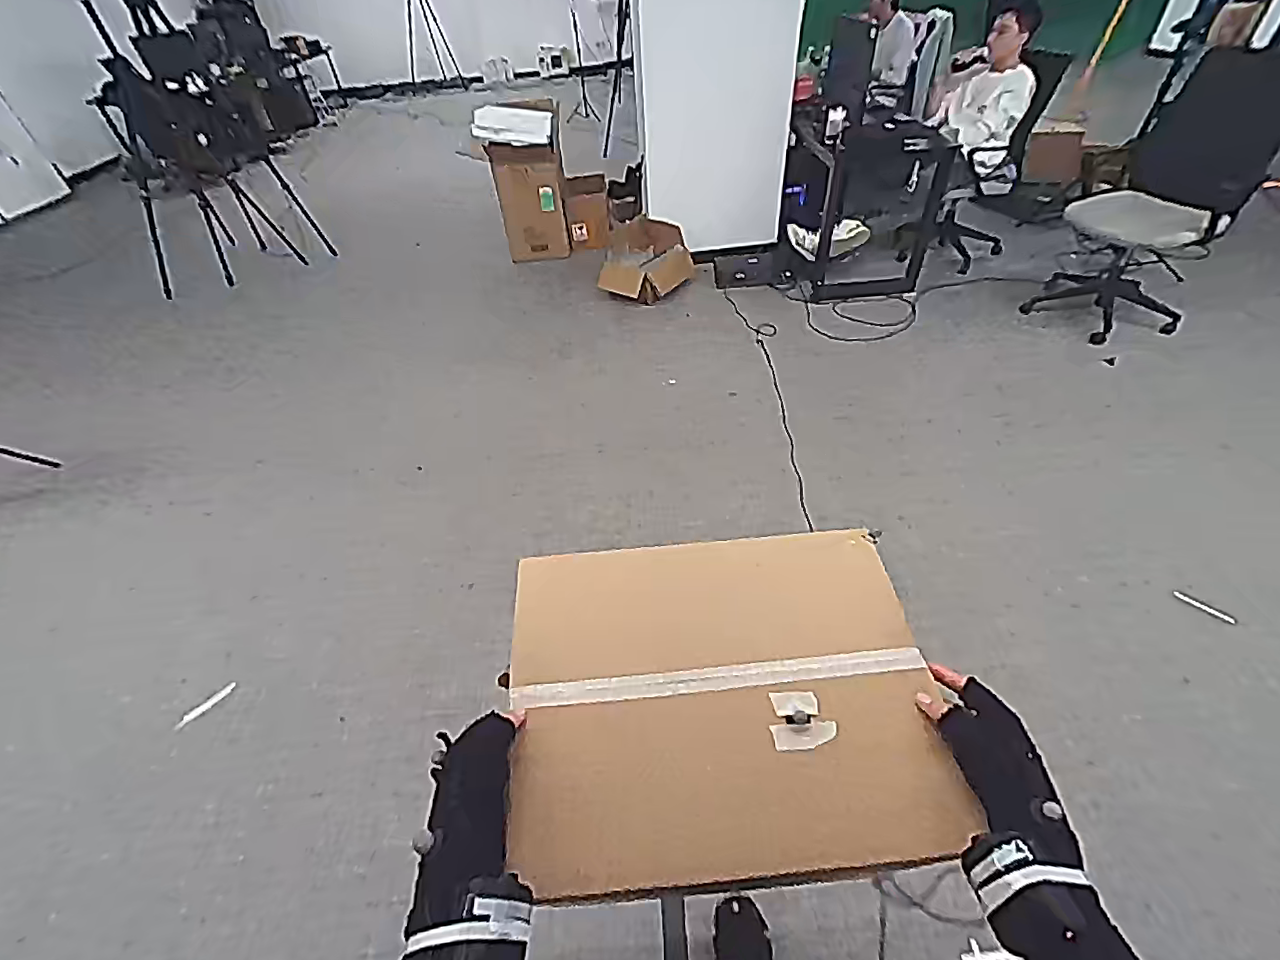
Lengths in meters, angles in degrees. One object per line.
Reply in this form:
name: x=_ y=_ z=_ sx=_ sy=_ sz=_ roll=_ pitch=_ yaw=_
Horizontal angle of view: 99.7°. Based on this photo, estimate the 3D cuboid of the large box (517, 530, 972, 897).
large box: x=0.080 y=0.291 z=0.665 sx=0.408 sy=0.320 sz=0.320 roll=-5 pitch=52 yaw=-2
